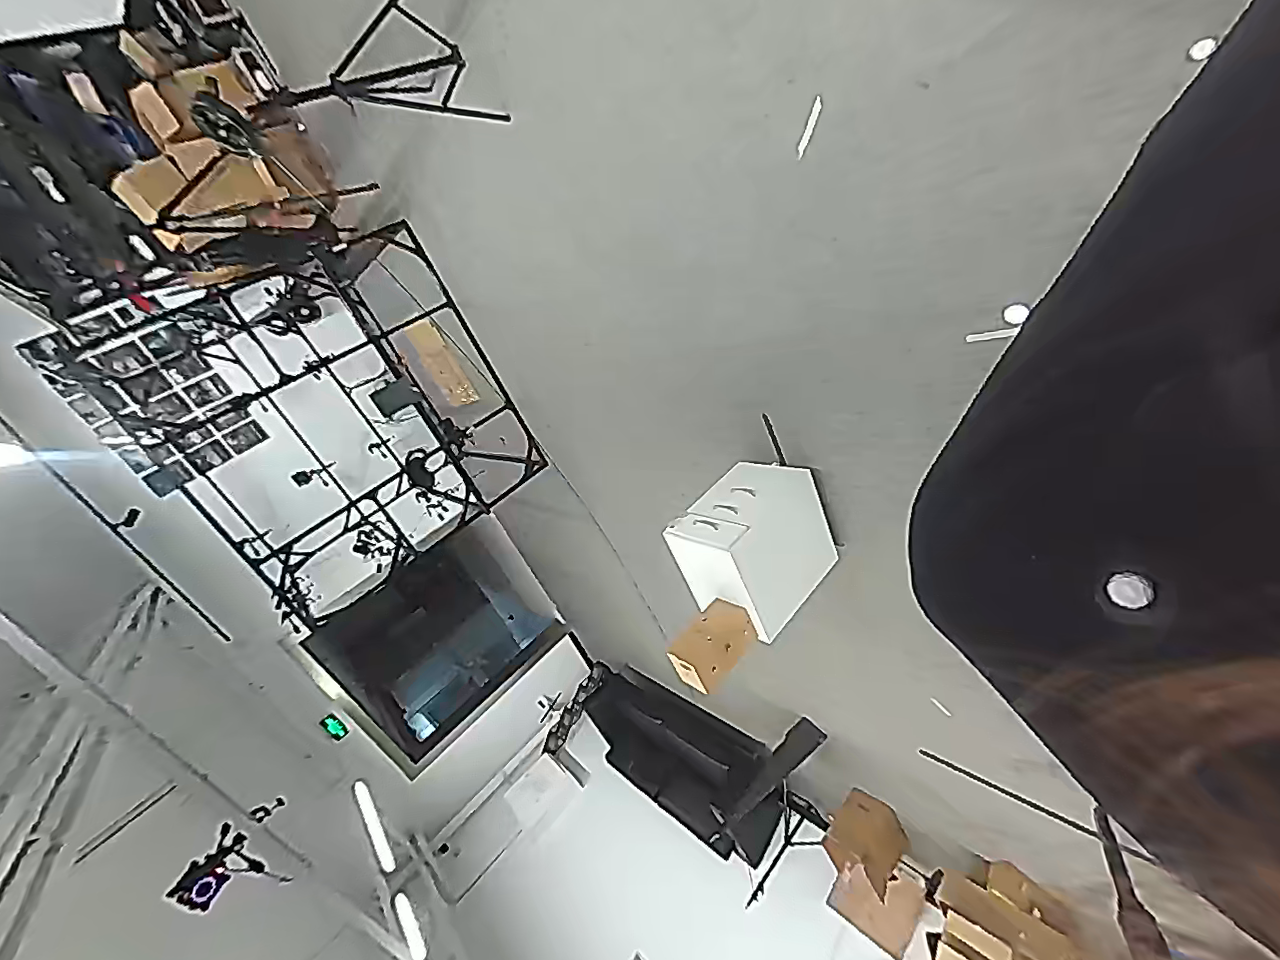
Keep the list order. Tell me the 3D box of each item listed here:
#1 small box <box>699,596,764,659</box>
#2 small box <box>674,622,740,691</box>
[{"bbox_3d":[0.387,0.612,2.270,0.179,0.176,0.168,10,133,54],"label":"small box"},{"bbox_3d":[0.276,0.708,2.194,0.168,0.176,0.179,11,135,54],"label":"small box"}]
